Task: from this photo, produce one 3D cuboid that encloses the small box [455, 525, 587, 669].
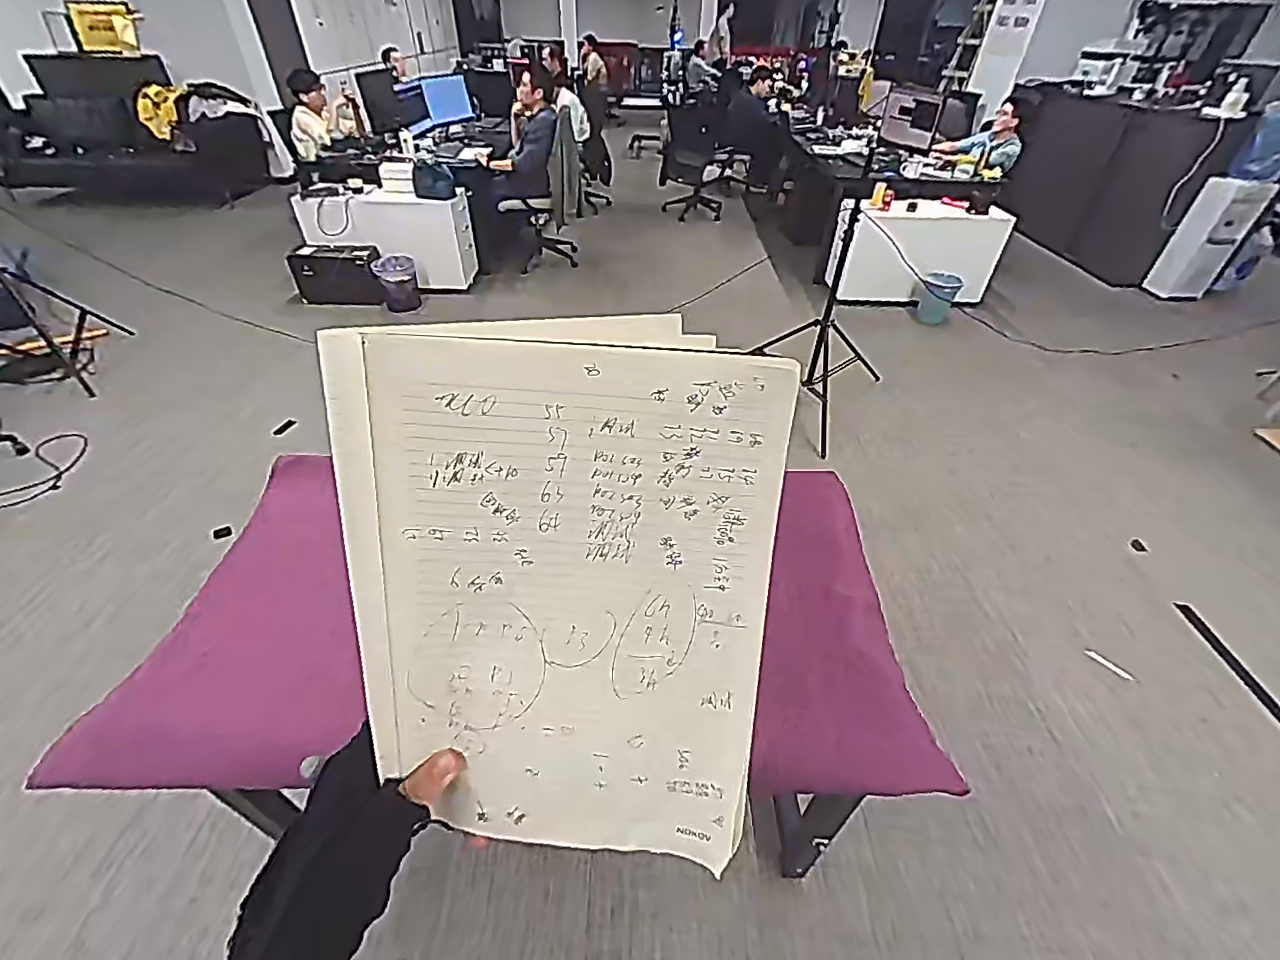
[{"bbox_3d":[-0.180,0.192,0.883,0.179,0.176,0.168,1,40,-1],"label":"small box"}]
